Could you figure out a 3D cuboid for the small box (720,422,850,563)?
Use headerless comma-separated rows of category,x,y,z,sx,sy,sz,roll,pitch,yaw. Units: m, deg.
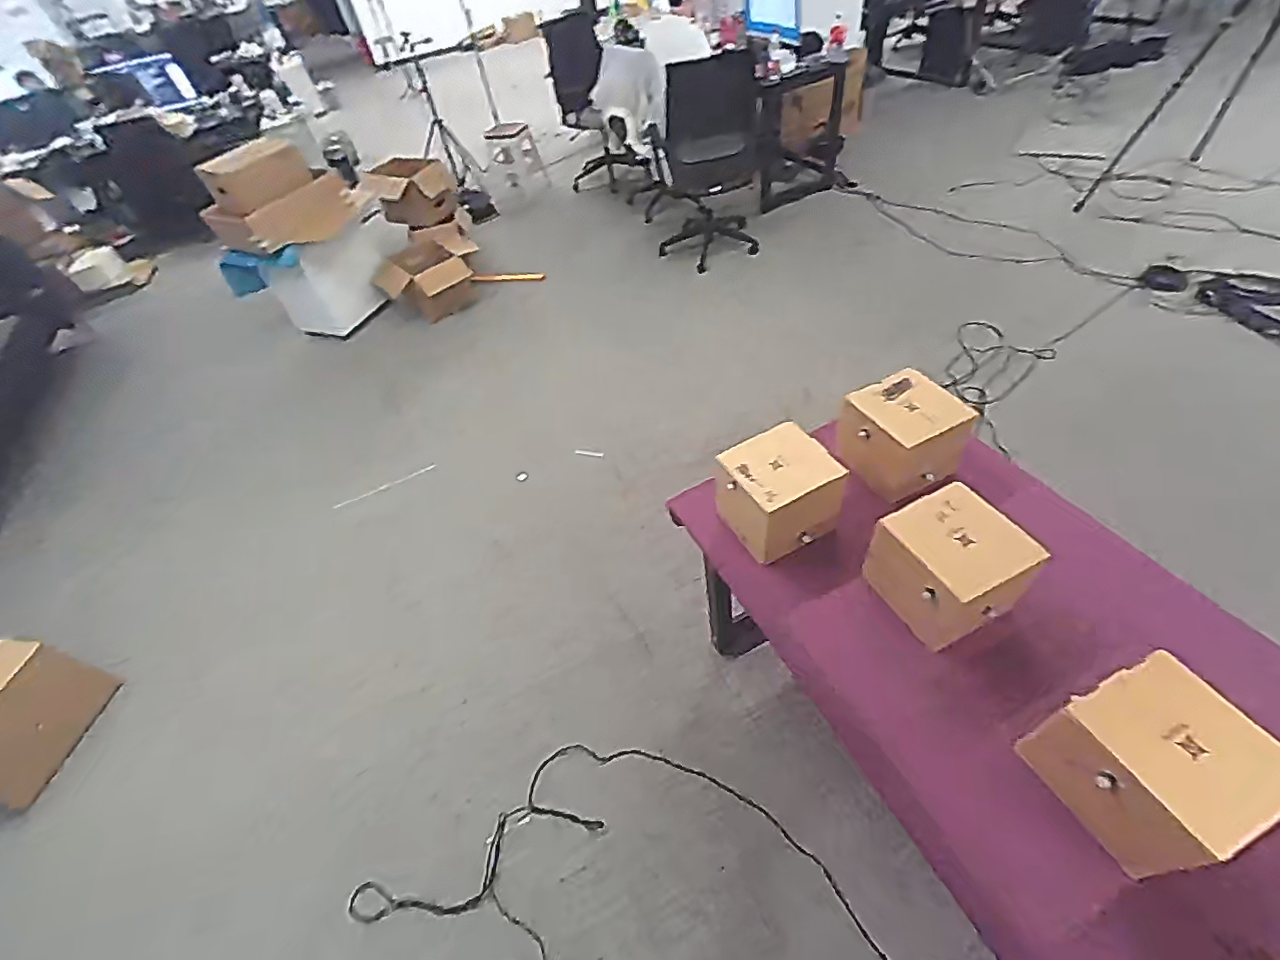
small box,0.264,0.024,1.031,0.179,0.176,0.168,-24,49,-13

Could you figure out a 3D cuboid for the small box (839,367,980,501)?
small box,0.525,-0.091,1.087,0.168,0.176,0.179,-24,50,-11

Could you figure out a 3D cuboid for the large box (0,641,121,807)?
large box,-2.011,0.758,1.698,0.320,0.320,0.408,-1,50,11

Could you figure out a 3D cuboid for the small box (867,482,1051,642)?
small box,0.504,0.141,0.884,0.168,0.176,0.179,-23,49,-11

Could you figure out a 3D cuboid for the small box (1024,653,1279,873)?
small box,0.637,0.356,0.672,0.168,0.176,0.179,-24,48,-10
